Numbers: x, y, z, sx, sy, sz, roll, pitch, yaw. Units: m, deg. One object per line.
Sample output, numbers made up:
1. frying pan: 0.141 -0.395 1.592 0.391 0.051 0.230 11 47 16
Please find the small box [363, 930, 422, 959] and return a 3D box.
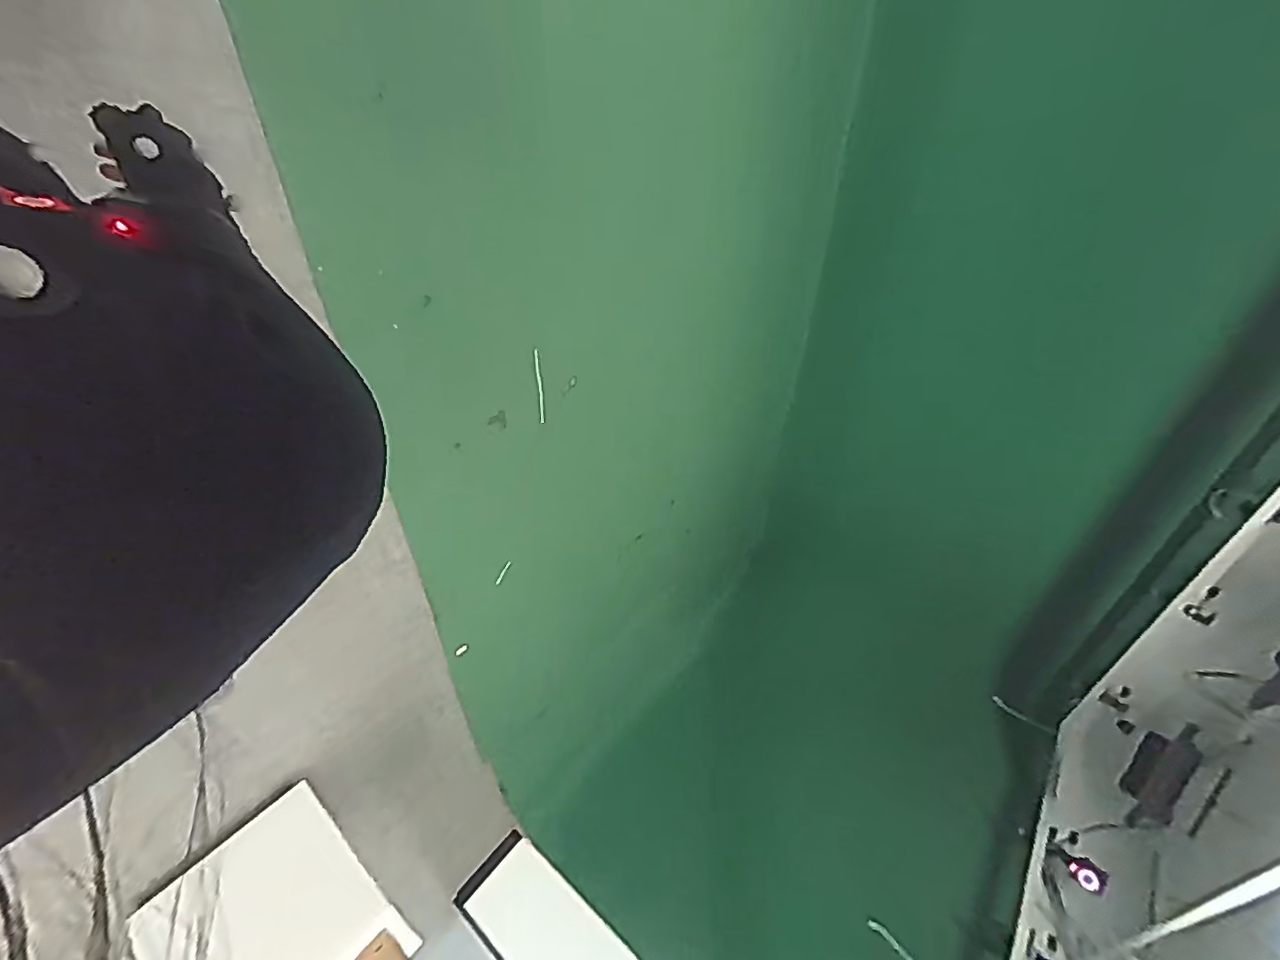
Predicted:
1. small box: -0.722 1.456 1.562 0.168 0.176 0.179 -38 142 -35
